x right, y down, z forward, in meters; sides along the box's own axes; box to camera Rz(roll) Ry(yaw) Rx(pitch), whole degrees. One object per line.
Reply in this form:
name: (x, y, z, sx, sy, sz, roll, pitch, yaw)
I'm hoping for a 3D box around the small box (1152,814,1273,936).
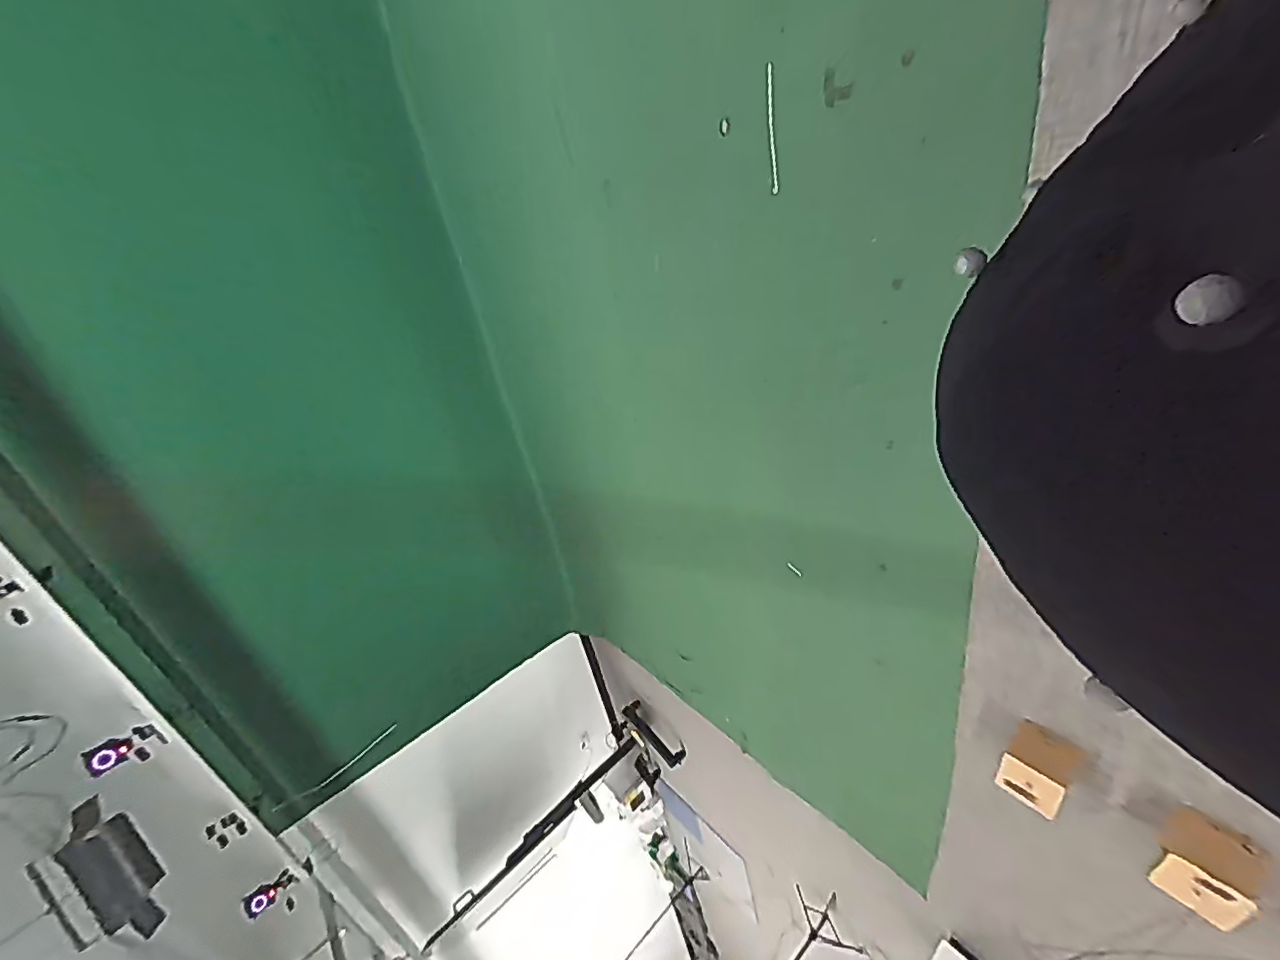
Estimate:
small box: (1.519, 1.040, 1.434, 0.168, 0.176, 0.179, 30, 139, 43)
